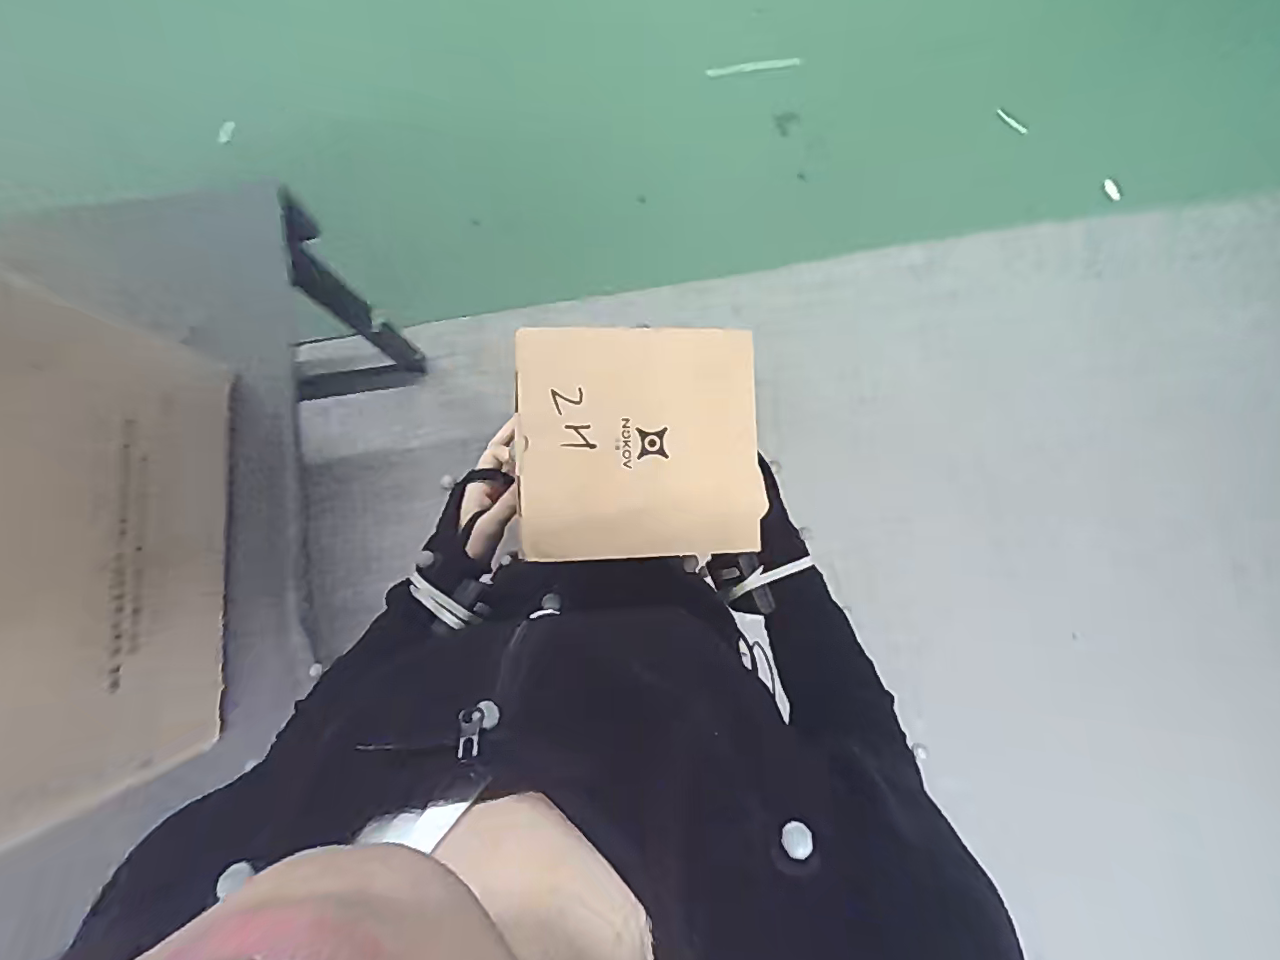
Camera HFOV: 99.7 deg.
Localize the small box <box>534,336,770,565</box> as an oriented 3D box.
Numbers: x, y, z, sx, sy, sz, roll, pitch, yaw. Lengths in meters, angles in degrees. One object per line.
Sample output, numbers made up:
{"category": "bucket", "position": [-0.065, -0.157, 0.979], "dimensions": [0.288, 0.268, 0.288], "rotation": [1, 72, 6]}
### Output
{"category": "small box", "position": [-0.001, -0.018, 0.474], "dimensions": [0.179, 0.176, 0.168], "rotation": [0, 87, -9]}
